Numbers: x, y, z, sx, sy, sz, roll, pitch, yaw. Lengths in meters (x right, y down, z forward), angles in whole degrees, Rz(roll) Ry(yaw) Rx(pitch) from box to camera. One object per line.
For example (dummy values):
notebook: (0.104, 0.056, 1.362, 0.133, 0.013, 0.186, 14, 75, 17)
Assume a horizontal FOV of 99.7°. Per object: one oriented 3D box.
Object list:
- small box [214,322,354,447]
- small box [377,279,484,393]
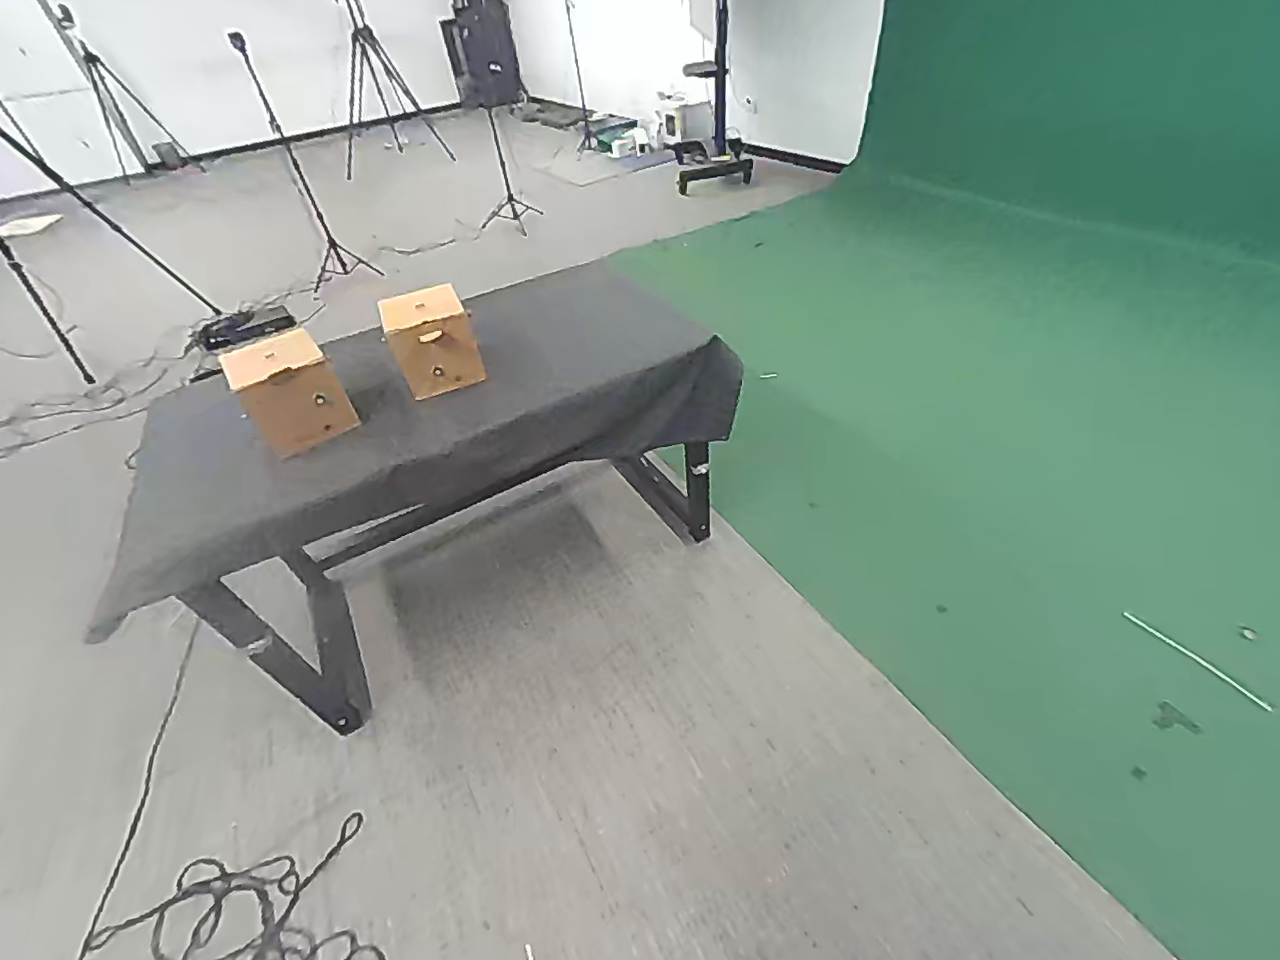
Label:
small box: (-0.707, -0.188, 1.086, 0.168, 0.176, 0.179, -30, 46, -25)
small box: (-0.462, -0.318, 1.197, 0.168, 0.176, 0.179, -20, 45, -15)
